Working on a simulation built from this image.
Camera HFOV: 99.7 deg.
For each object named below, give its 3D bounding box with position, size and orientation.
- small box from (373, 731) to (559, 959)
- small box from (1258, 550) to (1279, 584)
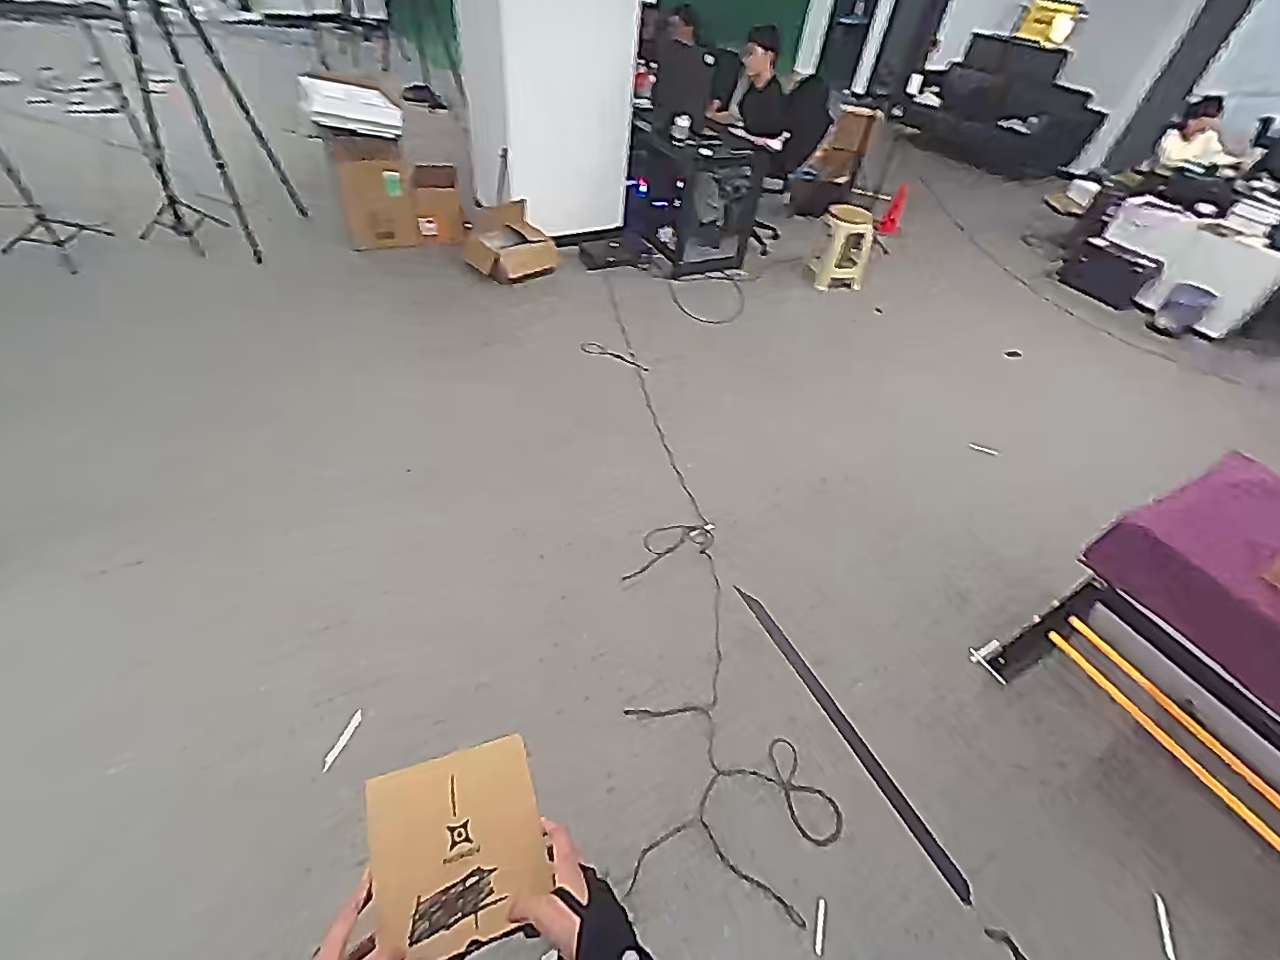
[{"bbox_3d":[-0.195,0.413,0.610,0.168,0.176,0.179,-7,55,-21],"label":"small box"},{"bbox_3d":[1.546,0.189,1.176,0.168,0.176,0.179,-16,51,-23],"label":"small box"}]
